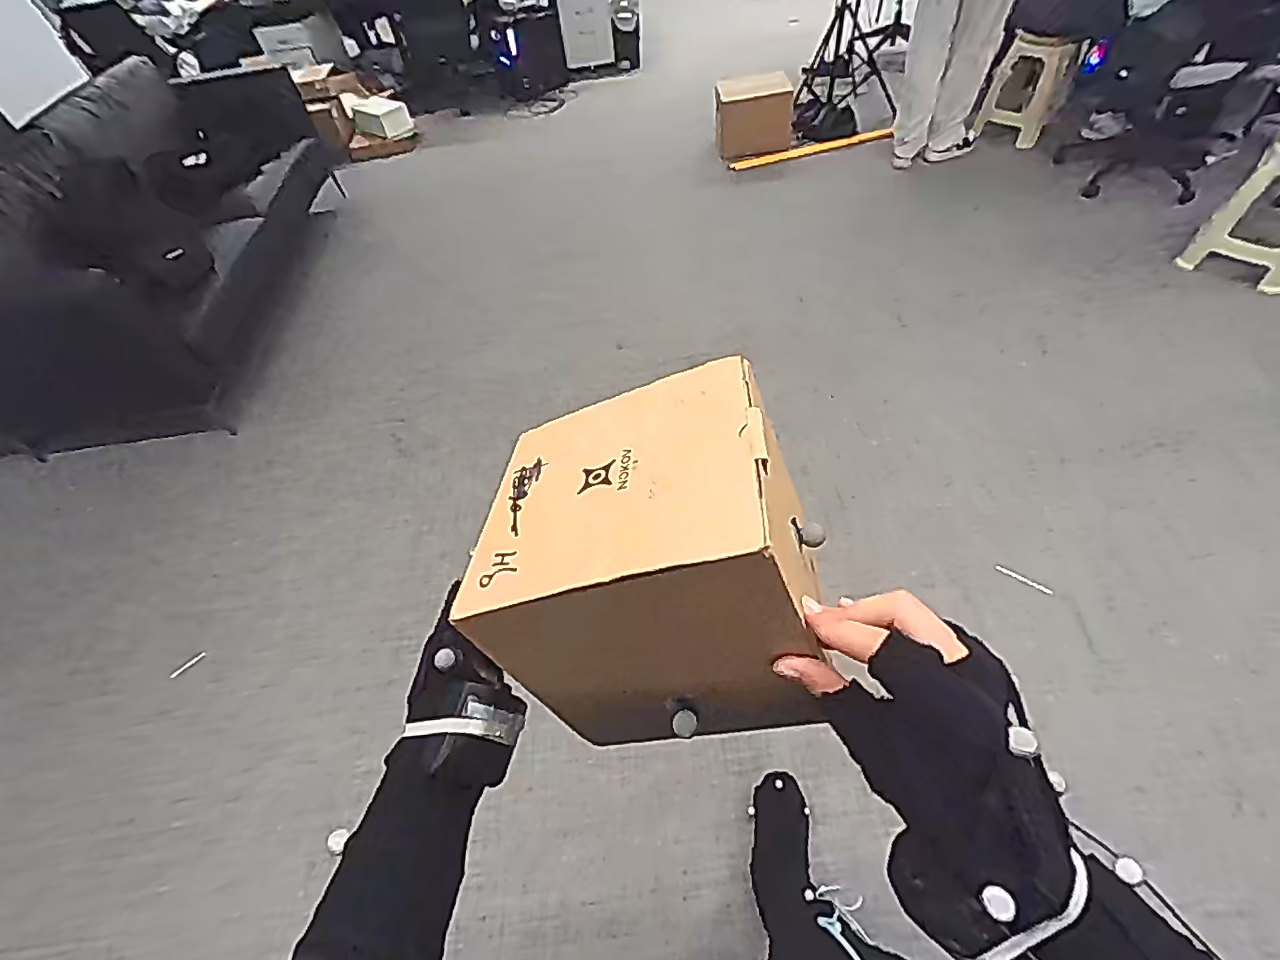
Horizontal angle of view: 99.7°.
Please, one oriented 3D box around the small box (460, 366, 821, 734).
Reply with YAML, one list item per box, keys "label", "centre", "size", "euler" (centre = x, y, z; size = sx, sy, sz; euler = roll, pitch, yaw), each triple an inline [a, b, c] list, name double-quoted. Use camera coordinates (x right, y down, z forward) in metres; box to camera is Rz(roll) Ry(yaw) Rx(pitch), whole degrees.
- label: "small box"
  centre: [0.017, 0.056, 0.375]
  size: [0.179, 0.176, 0.168]
  euler: [-16, 39, 19]
